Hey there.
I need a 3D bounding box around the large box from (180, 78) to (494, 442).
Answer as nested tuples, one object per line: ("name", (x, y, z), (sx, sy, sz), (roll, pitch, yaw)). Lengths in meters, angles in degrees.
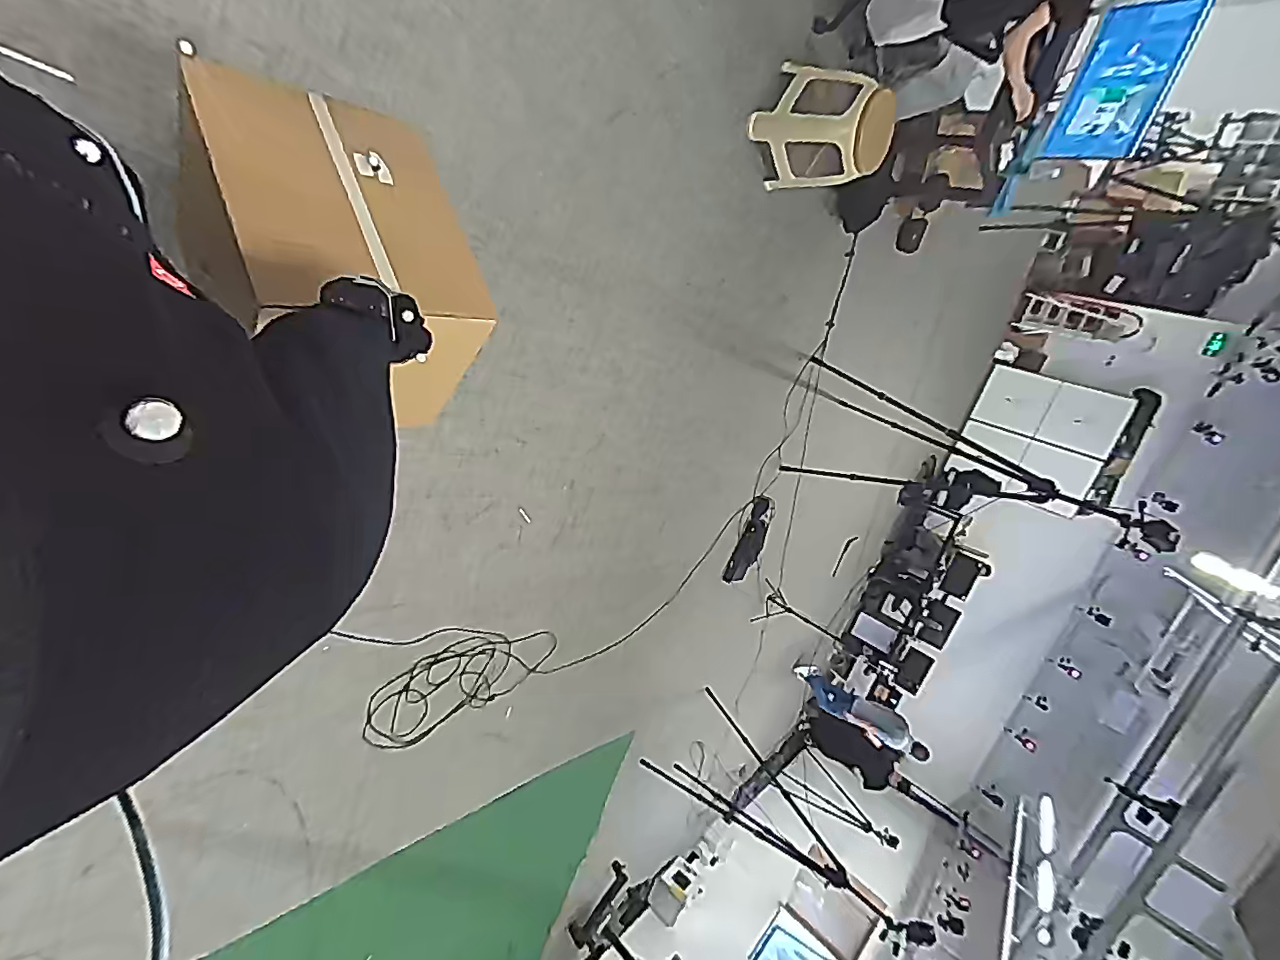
("large box", (-0.501, -0.320, 0.880), (0.320, 0.408, 0.320), (-13, 161, -45))
